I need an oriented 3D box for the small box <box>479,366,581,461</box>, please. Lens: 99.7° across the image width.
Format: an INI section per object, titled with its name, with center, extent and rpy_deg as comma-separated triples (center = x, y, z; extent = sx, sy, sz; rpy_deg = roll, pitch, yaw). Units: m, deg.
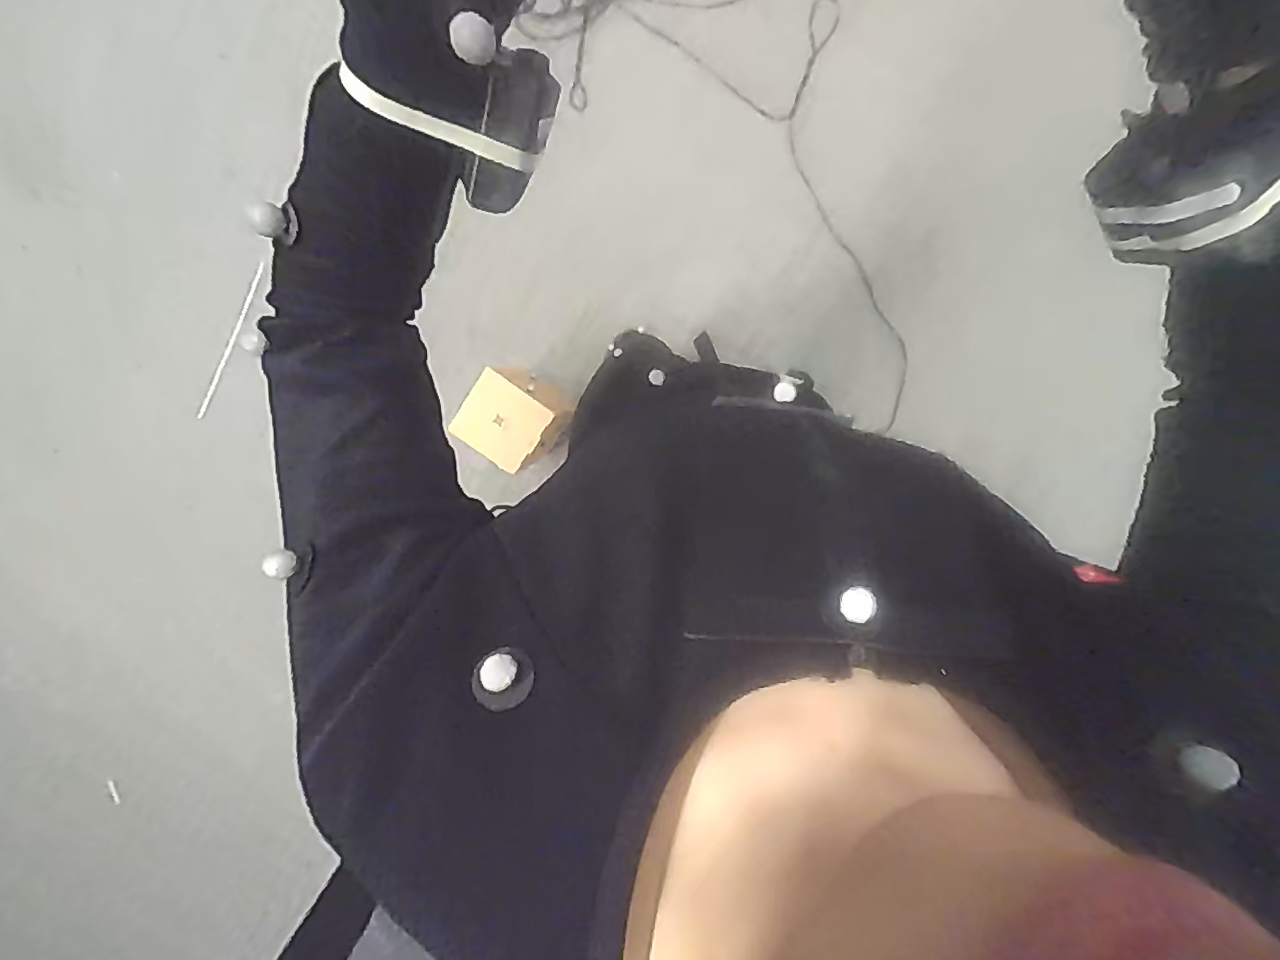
[small box]
center = -0.275, -0.172, 1.388
extent = 0.179, 0.176, 0.168
rpy_deg = 37, 101, -4
